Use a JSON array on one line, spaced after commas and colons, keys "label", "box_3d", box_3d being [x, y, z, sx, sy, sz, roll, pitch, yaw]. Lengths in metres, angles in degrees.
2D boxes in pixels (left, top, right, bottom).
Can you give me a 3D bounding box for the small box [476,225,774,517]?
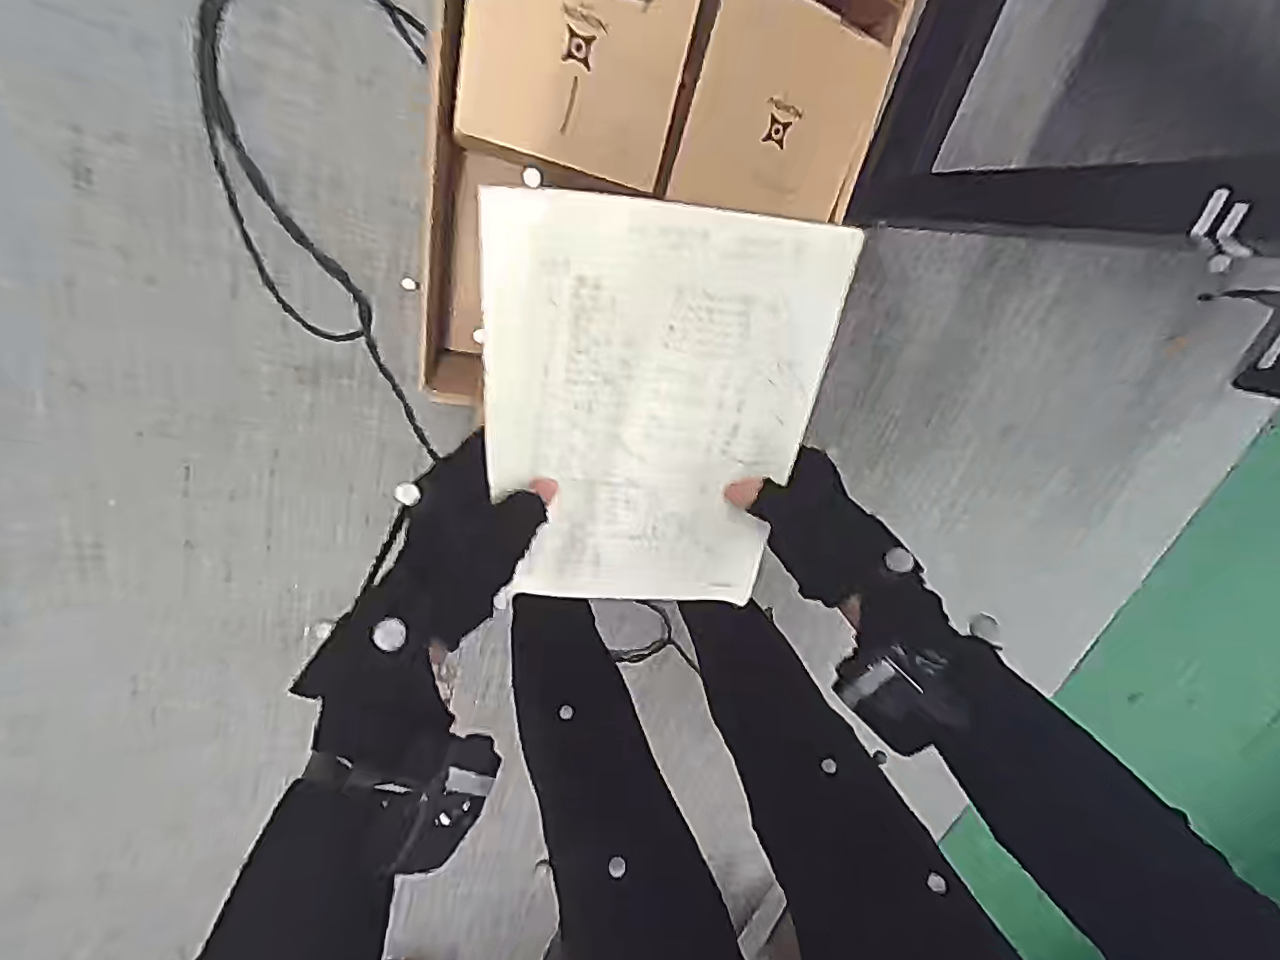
[{"label": "small box", "box_3d": [-0.031, -0.087, 0.425, 0.179, 0.176, 0.168, 3, 123, -20]}]
